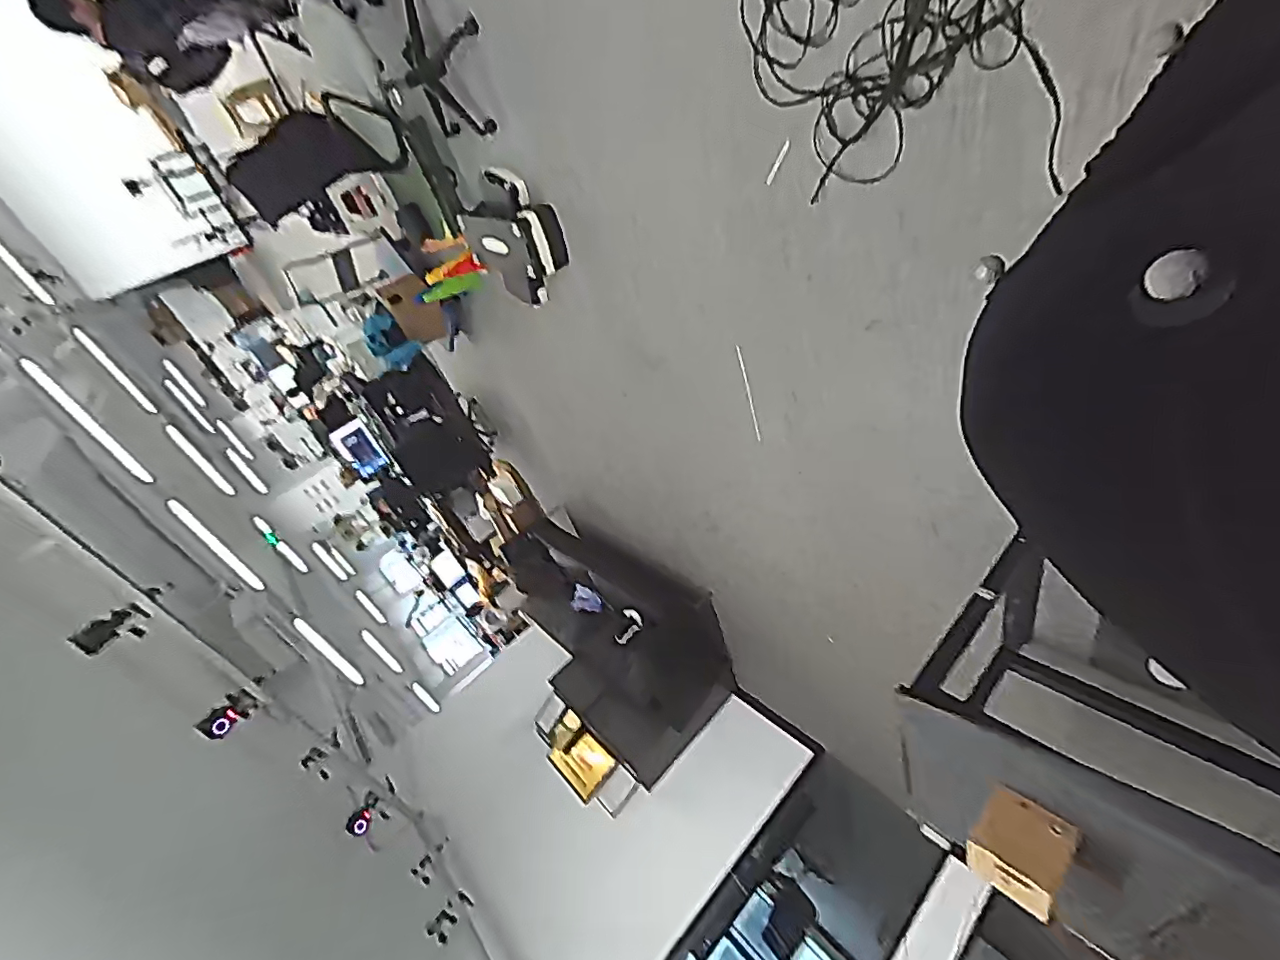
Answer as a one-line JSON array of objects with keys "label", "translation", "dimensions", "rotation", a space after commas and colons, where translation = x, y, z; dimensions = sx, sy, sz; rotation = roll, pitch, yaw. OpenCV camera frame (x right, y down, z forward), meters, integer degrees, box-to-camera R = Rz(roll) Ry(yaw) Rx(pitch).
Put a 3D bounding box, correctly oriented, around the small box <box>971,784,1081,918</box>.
[{"label": "small box", "translation": [0.905, 0.863, 1.272], "dimensions": [0.168, 0.176, 0.179], "rotation": [22, 144, 47]}]
